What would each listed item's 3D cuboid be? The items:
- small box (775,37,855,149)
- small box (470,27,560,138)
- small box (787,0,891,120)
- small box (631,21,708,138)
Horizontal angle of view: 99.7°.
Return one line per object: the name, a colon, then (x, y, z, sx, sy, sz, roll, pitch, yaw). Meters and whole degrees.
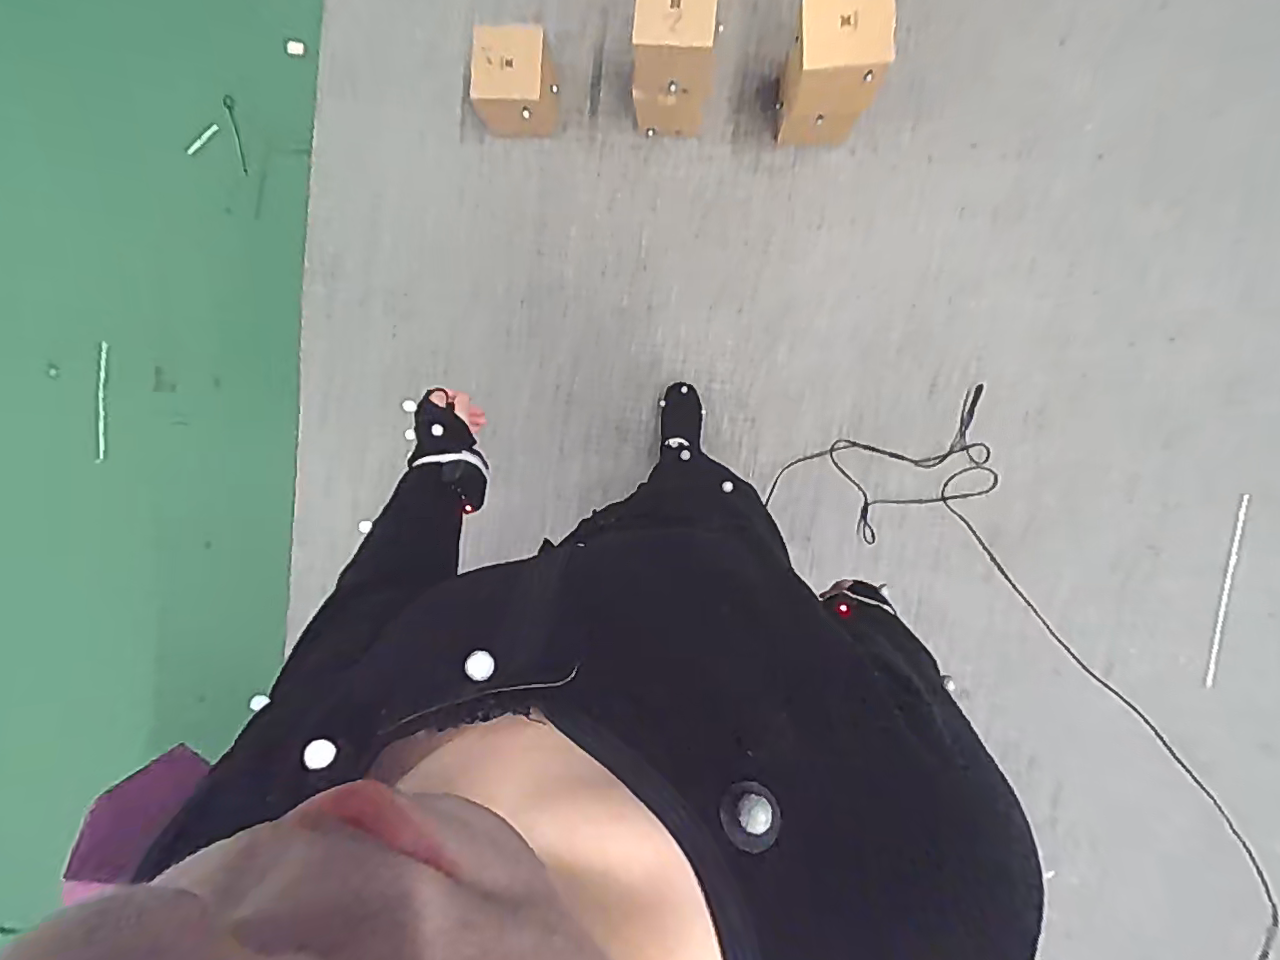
small box: (0.425, -0.918, 1.294, 0.179, 0.176, 0.168, 4, 96, 6)
small box: (-0.309, -0.997, 1.370, 0.179, 0.176, 0.168, 6, 95, 6)
small box: (0.408, -0.889, 1.134, 0.179, 0.176, 0.168, -1, 95, 6)
small box: (0.077, -0.973, 1.328, 0.168, 0.176, 0.179, 7, 95, 6)
